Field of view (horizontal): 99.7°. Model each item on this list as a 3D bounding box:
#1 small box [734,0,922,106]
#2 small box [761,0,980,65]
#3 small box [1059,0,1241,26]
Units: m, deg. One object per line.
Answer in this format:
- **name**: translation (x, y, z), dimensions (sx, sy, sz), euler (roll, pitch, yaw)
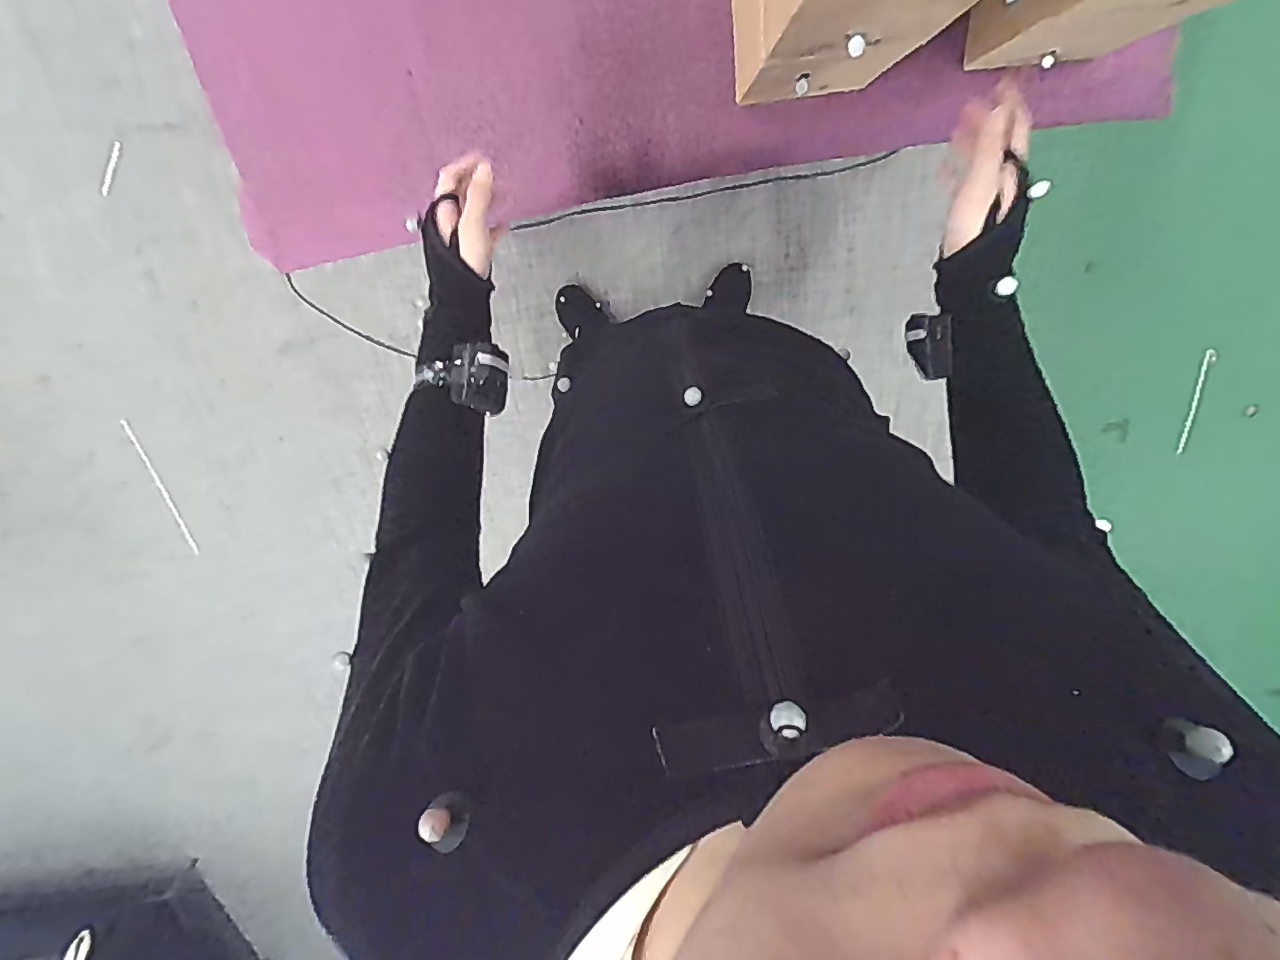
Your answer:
- **small box**: translation (0.196, -0.533, 0.588), dimensions (0.168, 0.176, 0.179), euler (-7, 111, 4)
- **small box**: translation (0.193, -0.475, 0.436), dimensions (0.168, 0.176, 0.179), euler (-5, 112, 3)
- **small box**: translation (0.474, -0.498, 0.419), dimensions (0.168, 0.176, 0.179), euler (-3, 112, 3)
